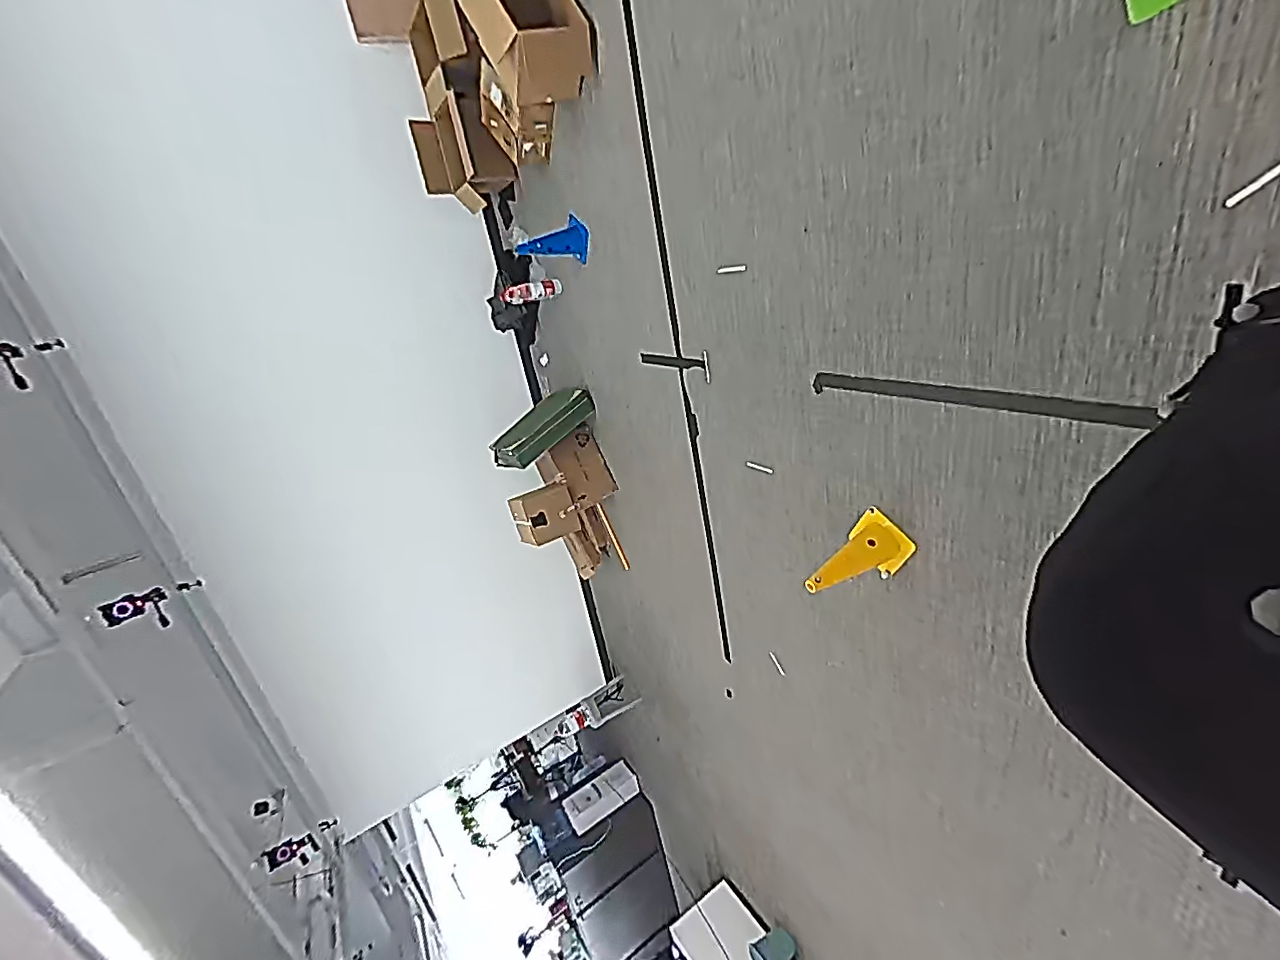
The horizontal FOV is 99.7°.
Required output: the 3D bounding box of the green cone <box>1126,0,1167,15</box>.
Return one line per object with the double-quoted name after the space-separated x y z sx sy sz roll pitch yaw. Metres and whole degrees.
0.756 -0.855 0.789 0.202 0.368 0.200 -3 108 62 "green cone"
